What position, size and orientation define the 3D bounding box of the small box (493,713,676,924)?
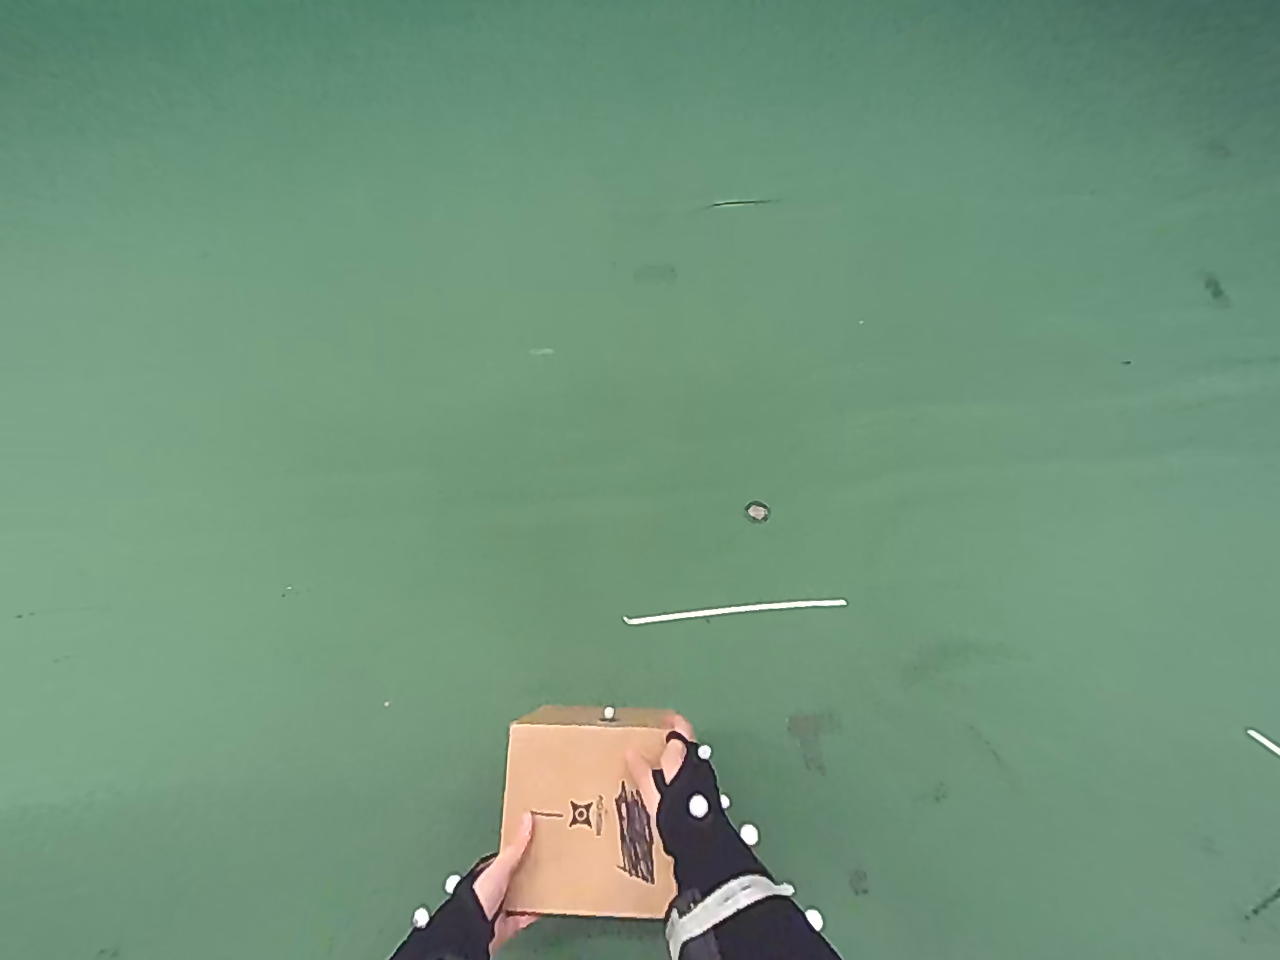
[{"bbox_3d":[-0.049,0.363,0.613,0.179,0.176,0.168,0,72,4],"label":"small box"}]
